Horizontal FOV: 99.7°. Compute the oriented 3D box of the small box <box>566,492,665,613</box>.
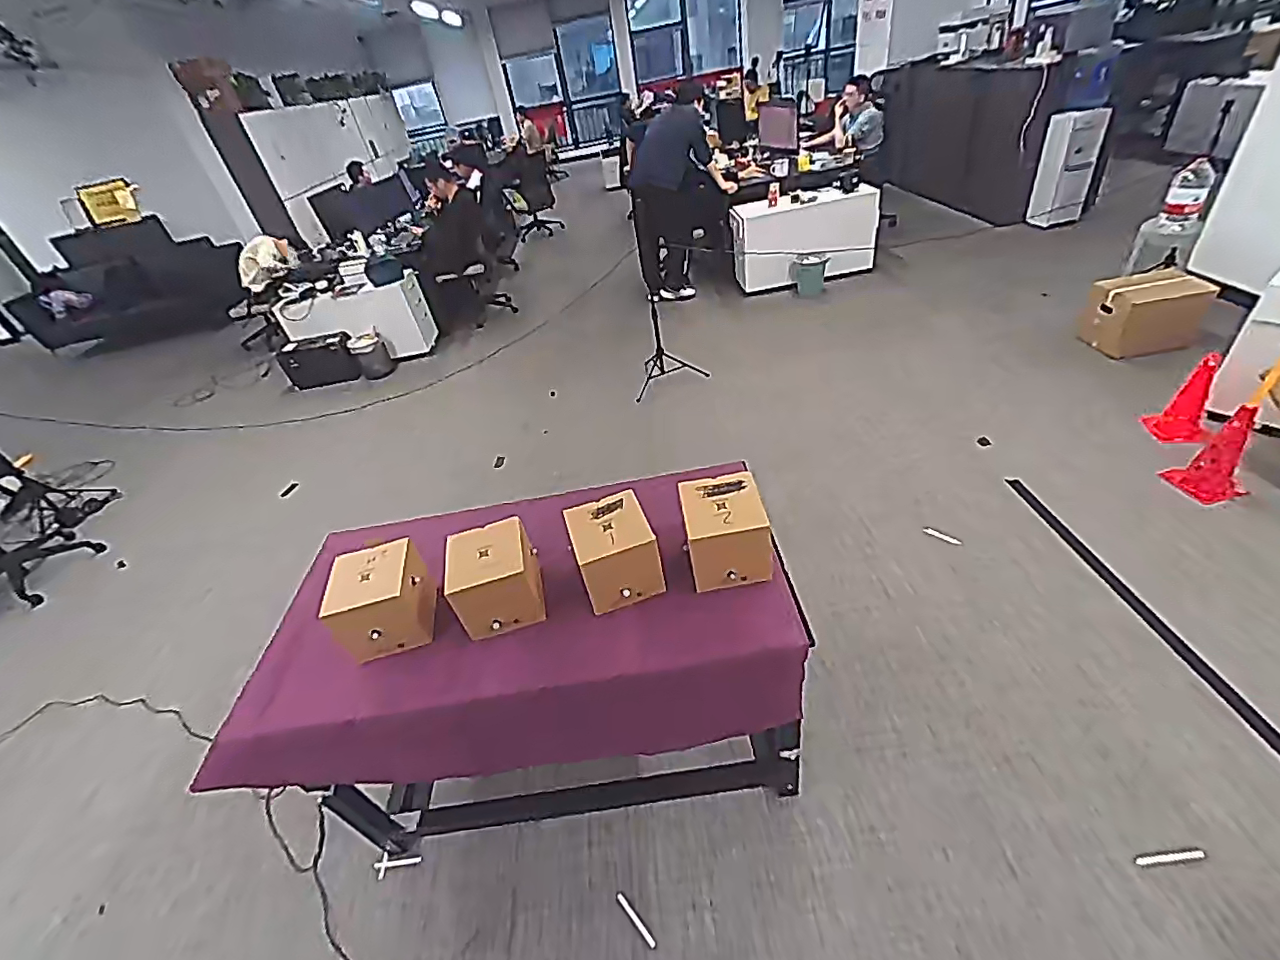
[{"bbox_3d":[-0.055,0.161,1.197,0.168,0.176,0.179,-18,39,-8],"label":"small box"}]

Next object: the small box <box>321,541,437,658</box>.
[{"bbox_3d":[-0.563,0.269,1.196,0.168,0.176,0.179,-15,38,-5],"label":"small box"}]

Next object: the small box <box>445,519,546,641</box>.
[{"bbox_3d":[-0.315,0.220,1.194,0.168,0.176,0.179,-17,38,-5],"label":"small box"}]
